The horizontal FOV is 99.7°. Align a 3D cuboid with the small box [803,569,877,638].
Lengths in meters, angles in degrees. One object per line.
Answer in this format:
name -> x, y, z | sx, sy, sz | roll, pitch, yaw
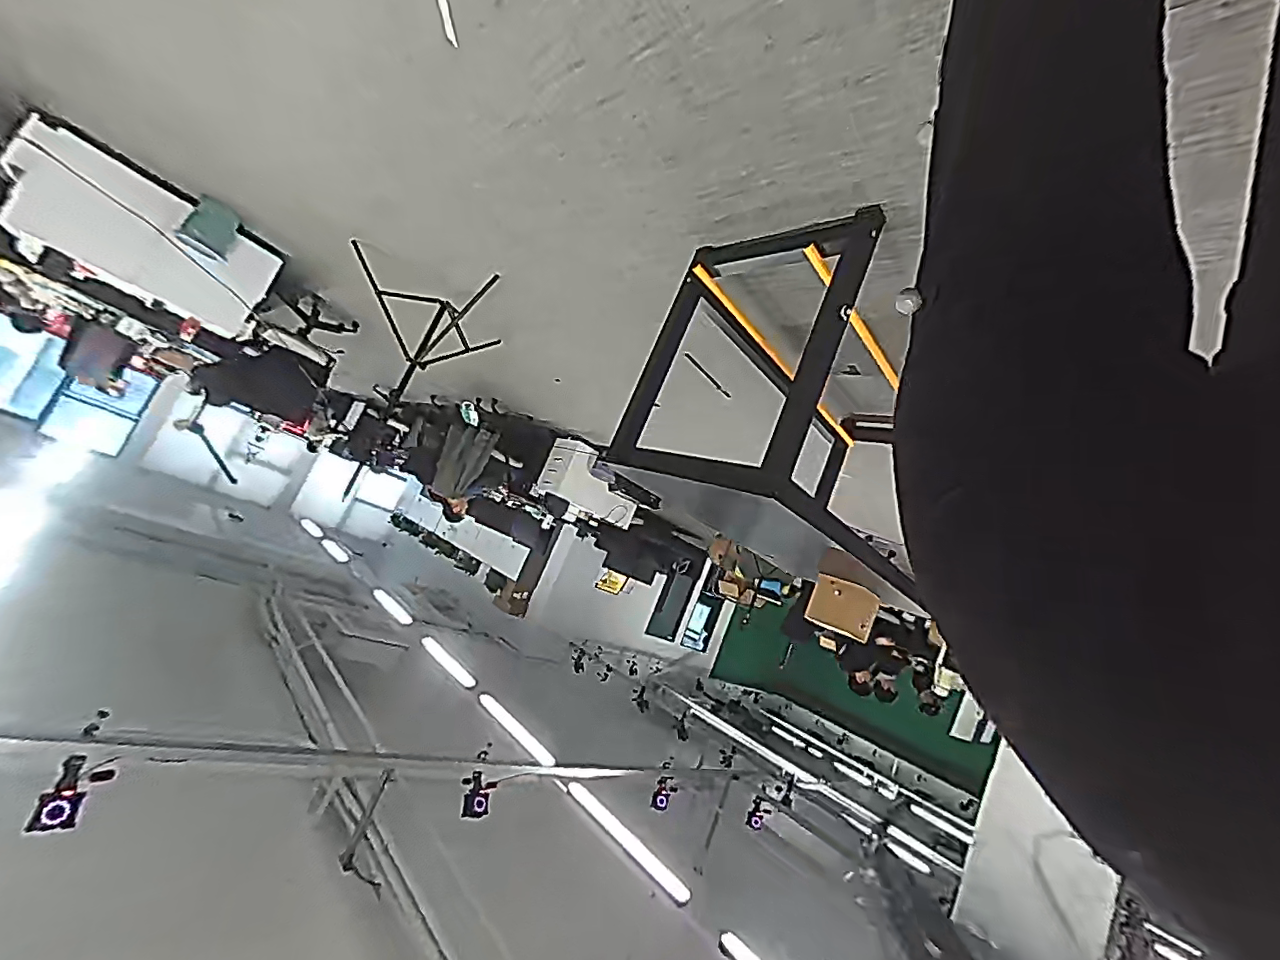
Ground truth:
small box -> 0.712, 0.433, 1.909 | 0.168, 0.176, 0.179 | 13, 166, 46
